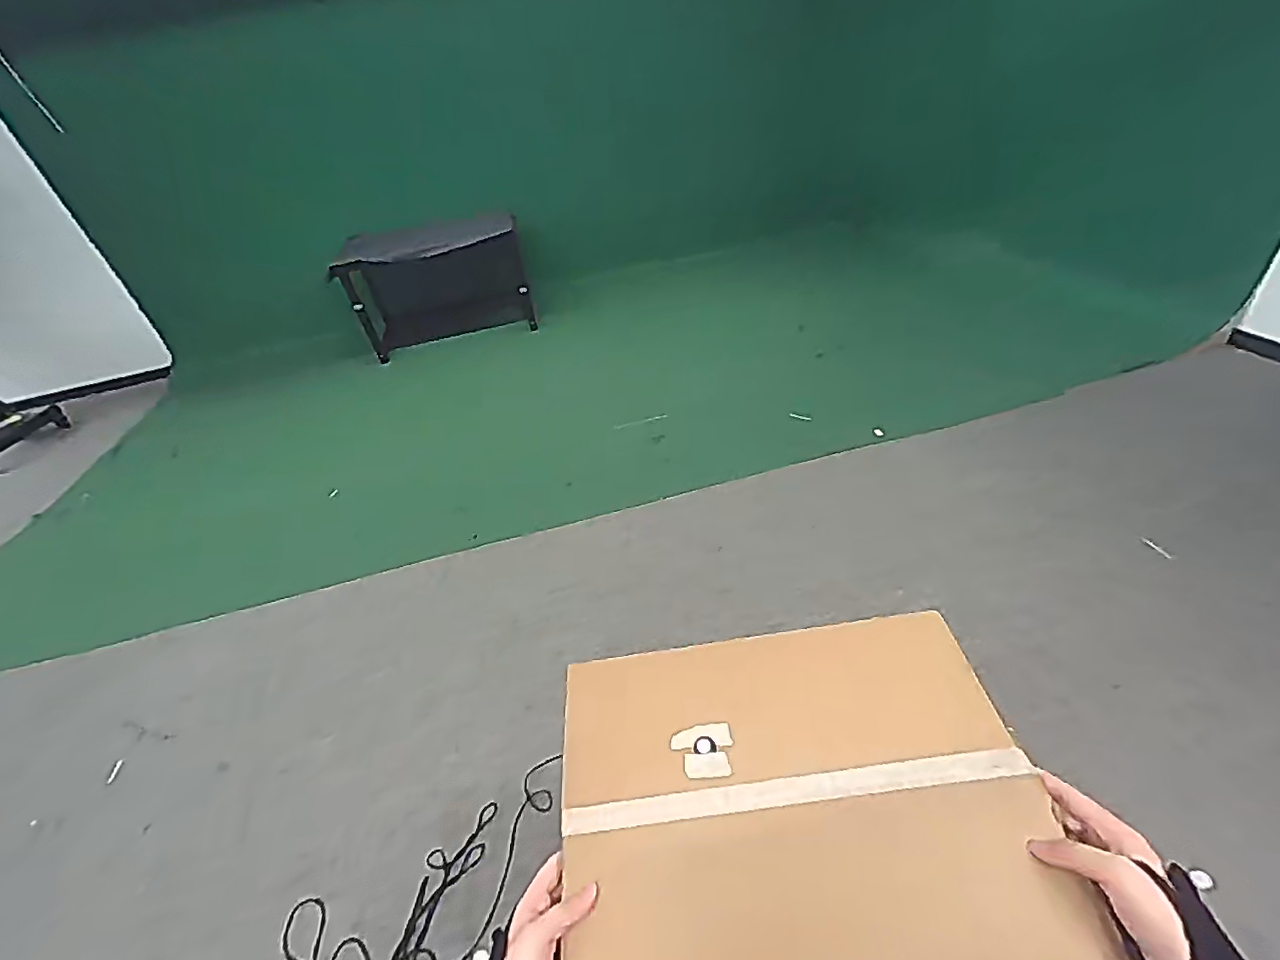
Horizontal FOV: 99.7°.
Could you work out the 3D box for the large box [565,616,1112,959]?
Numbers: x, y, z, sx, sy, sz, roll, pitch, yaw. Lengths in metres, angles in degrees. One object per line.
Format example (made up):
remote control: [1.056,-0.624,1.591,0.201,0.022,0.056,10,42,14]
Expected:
large box: [0.156,0.392,0.586,0.408,0.320,0.320,-11,42,5]
